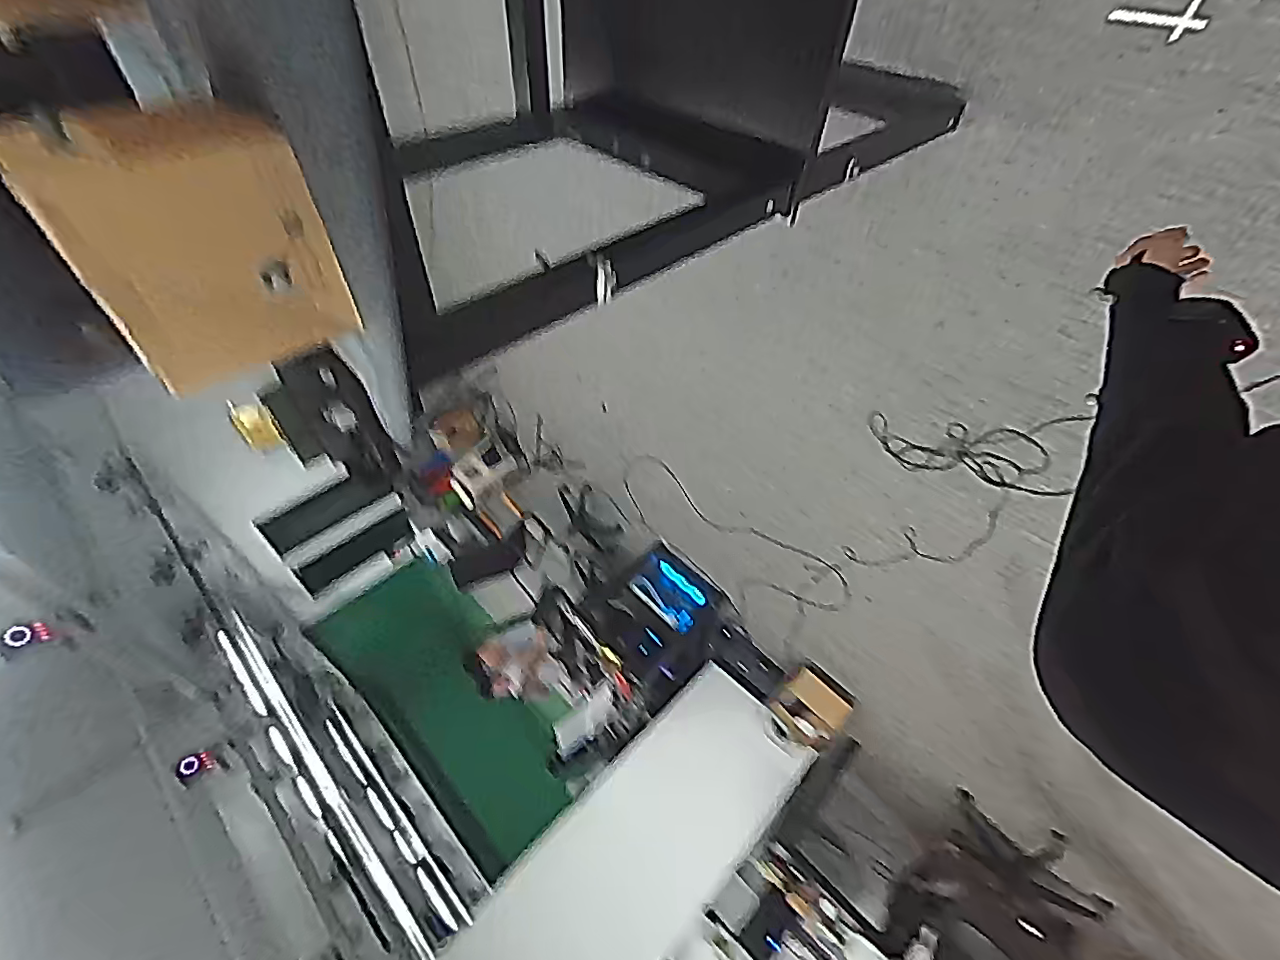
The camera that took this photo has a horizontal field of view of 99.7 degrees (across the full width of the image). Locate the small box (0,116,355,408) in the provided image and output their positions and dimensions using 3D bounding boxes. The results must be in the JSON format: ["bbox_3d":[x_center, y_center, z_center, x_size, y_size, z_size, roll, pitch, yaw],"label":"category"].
[{"bbox_3d":[-0.387,-0.197,0.469,0.179,0.176,0.168,34,145,29],"label":"small box"}]
